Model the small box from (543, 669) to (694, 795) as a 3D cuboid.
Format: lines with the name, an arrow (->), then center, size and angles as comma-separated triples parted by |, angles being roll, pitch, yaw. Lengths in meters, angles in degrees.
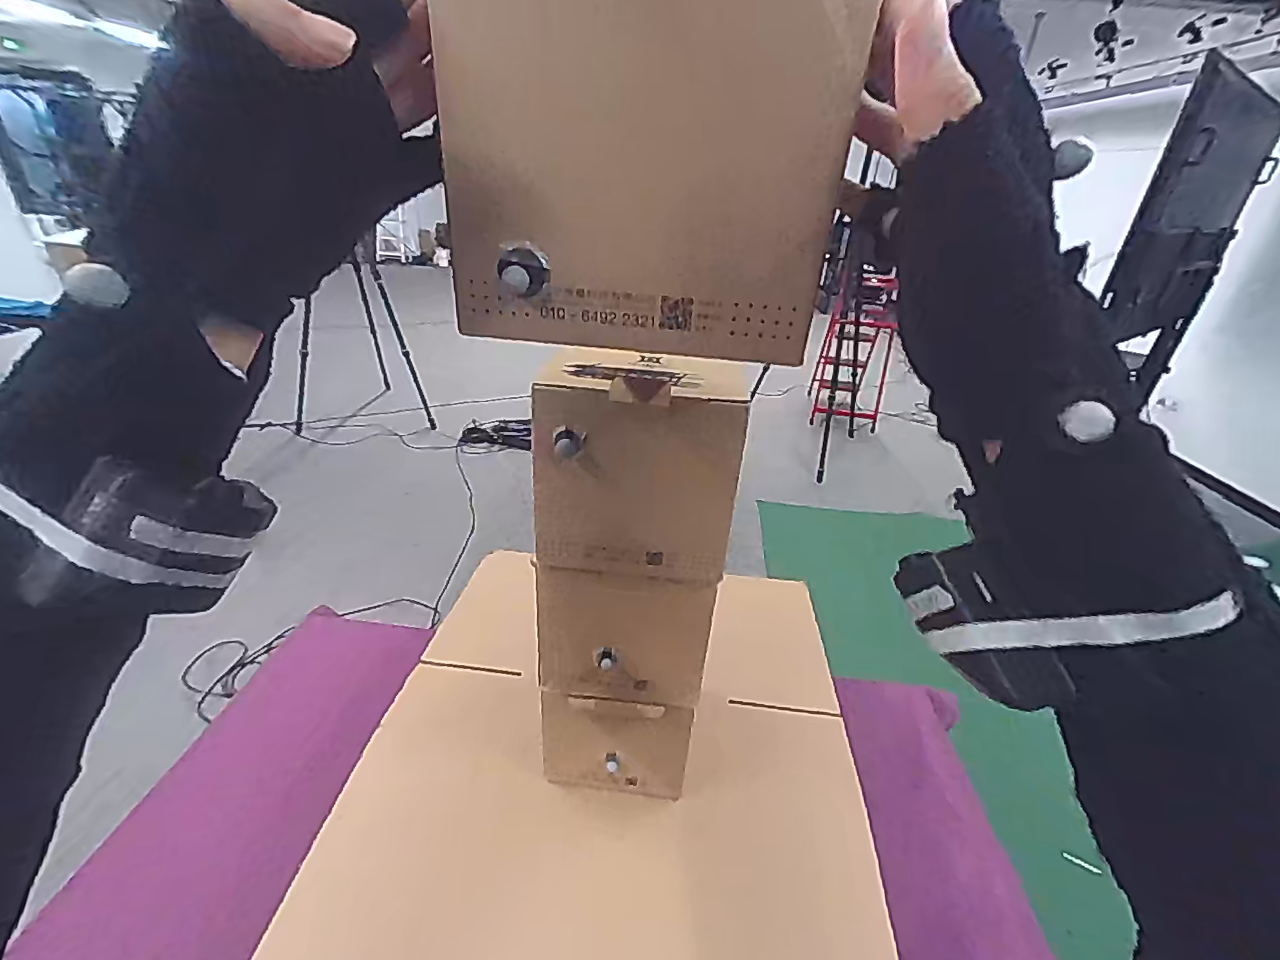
small box -> -0.019, 0.252, 0.678 | 0.168, 0.176, 0.179 | 6, 29, 4

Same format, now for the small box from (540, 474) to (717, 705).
small box -> -0.010, 0.113, 0.595 | 0.168, 0.176, 0.179 | 5, 29, 2

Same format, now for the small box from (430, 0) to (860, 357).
small box -> 0.008, -0.174, 0.294 | 0.168, 0.176, 0.179 | 6, 30, 3
